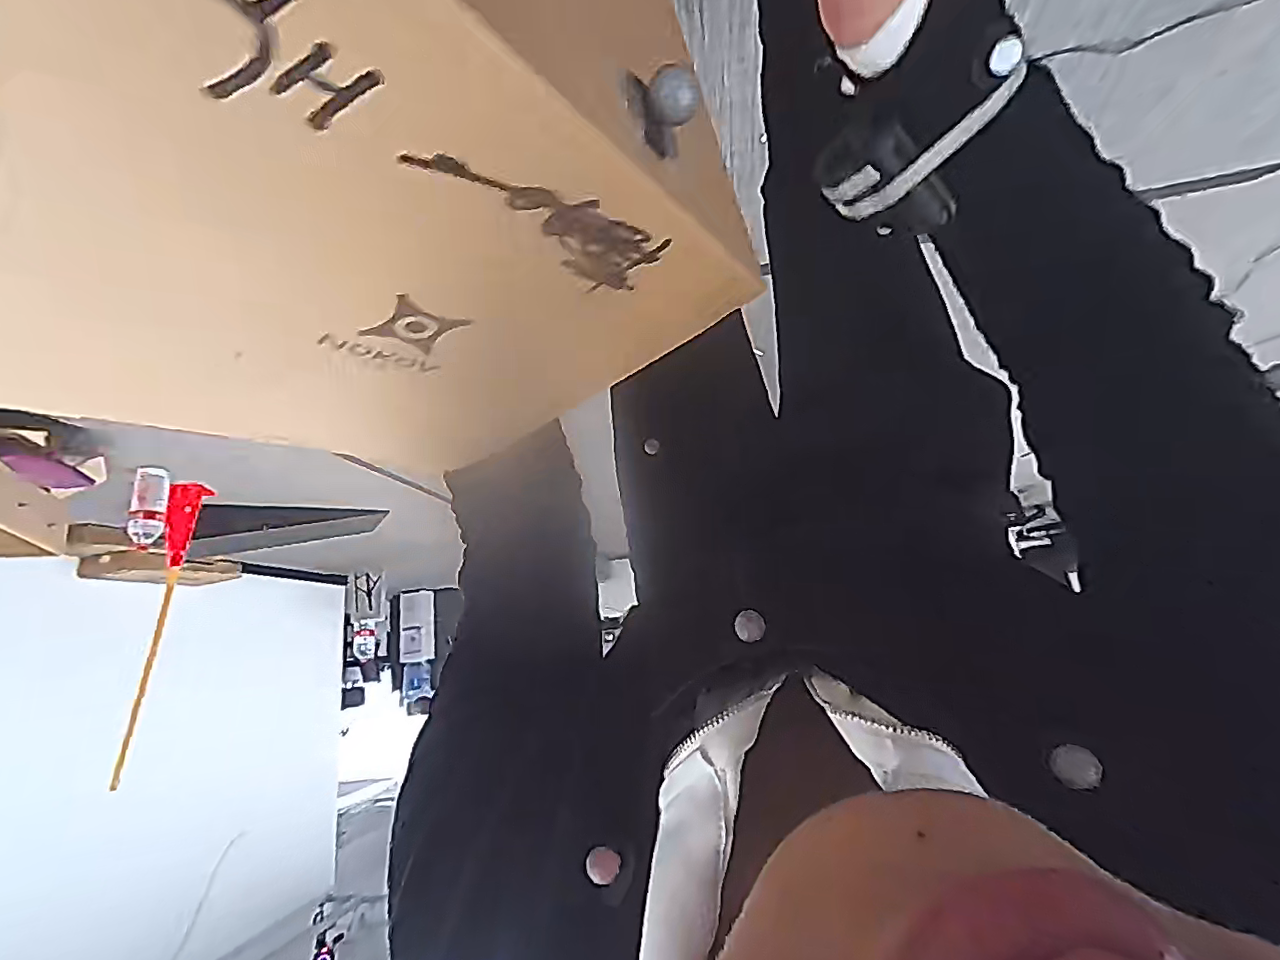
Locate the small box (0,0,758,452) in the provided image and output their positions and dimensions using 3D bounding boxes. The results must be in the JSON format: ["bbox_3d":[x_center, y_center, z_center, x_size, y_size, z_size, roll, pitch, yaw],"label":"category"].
[{"bbox_3d":[-0.089,-0.127,0.184,0.179,0.176,0.168,-23,163,31],"label":"small box"}]
